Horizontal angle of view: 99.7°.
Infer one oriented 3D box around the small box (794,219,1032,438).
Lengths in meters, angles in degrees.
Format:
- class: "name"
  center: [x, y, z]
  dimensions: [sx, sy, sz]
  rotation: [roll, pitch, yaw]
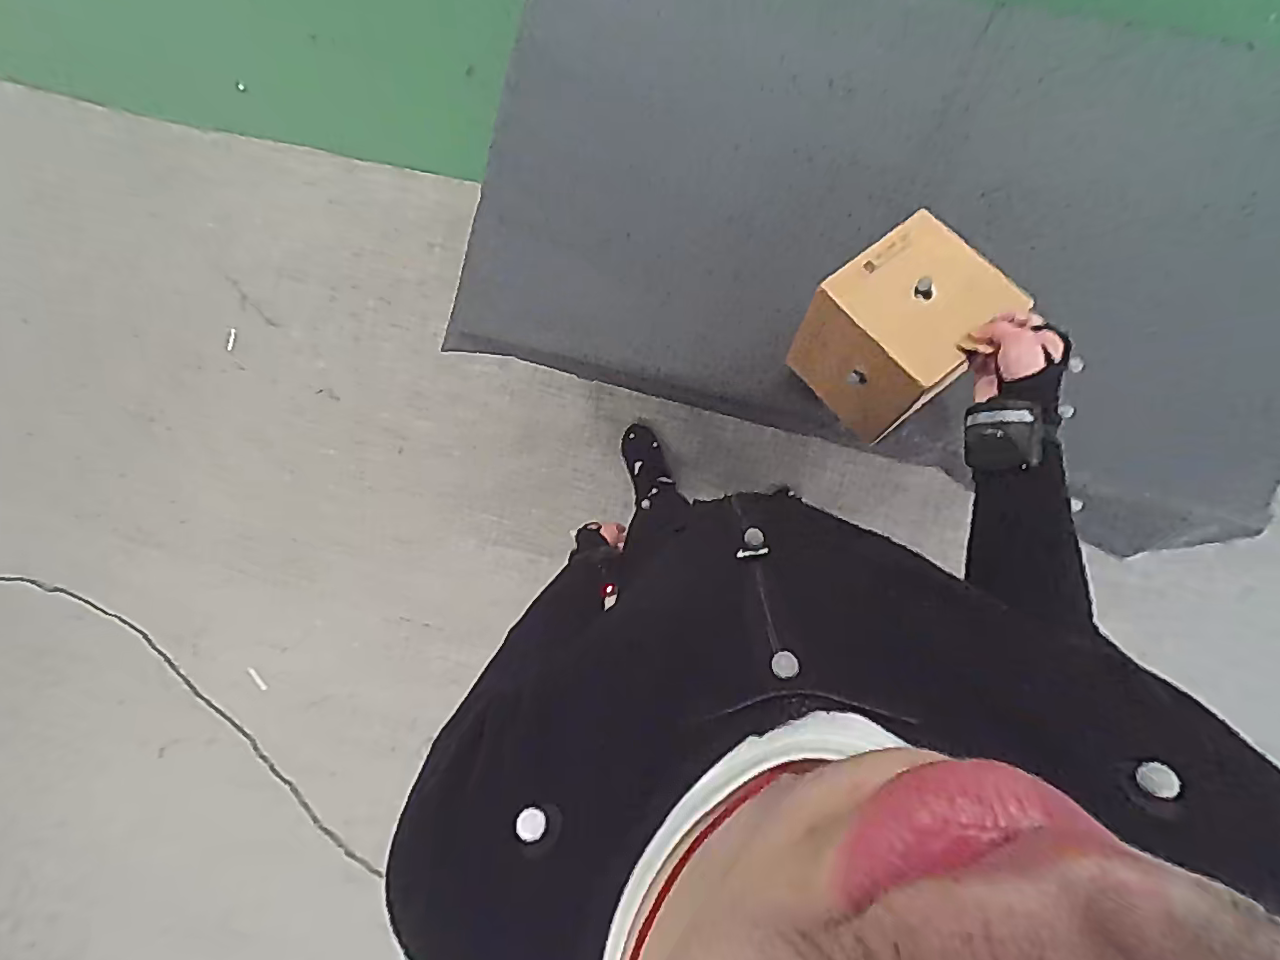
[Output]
- class: "small box"
  center: [0.315, -0.187, 0.670]
  dimensions: [0.168, 0.179, 0.176]
  rotation: [-40, 75, -5]
